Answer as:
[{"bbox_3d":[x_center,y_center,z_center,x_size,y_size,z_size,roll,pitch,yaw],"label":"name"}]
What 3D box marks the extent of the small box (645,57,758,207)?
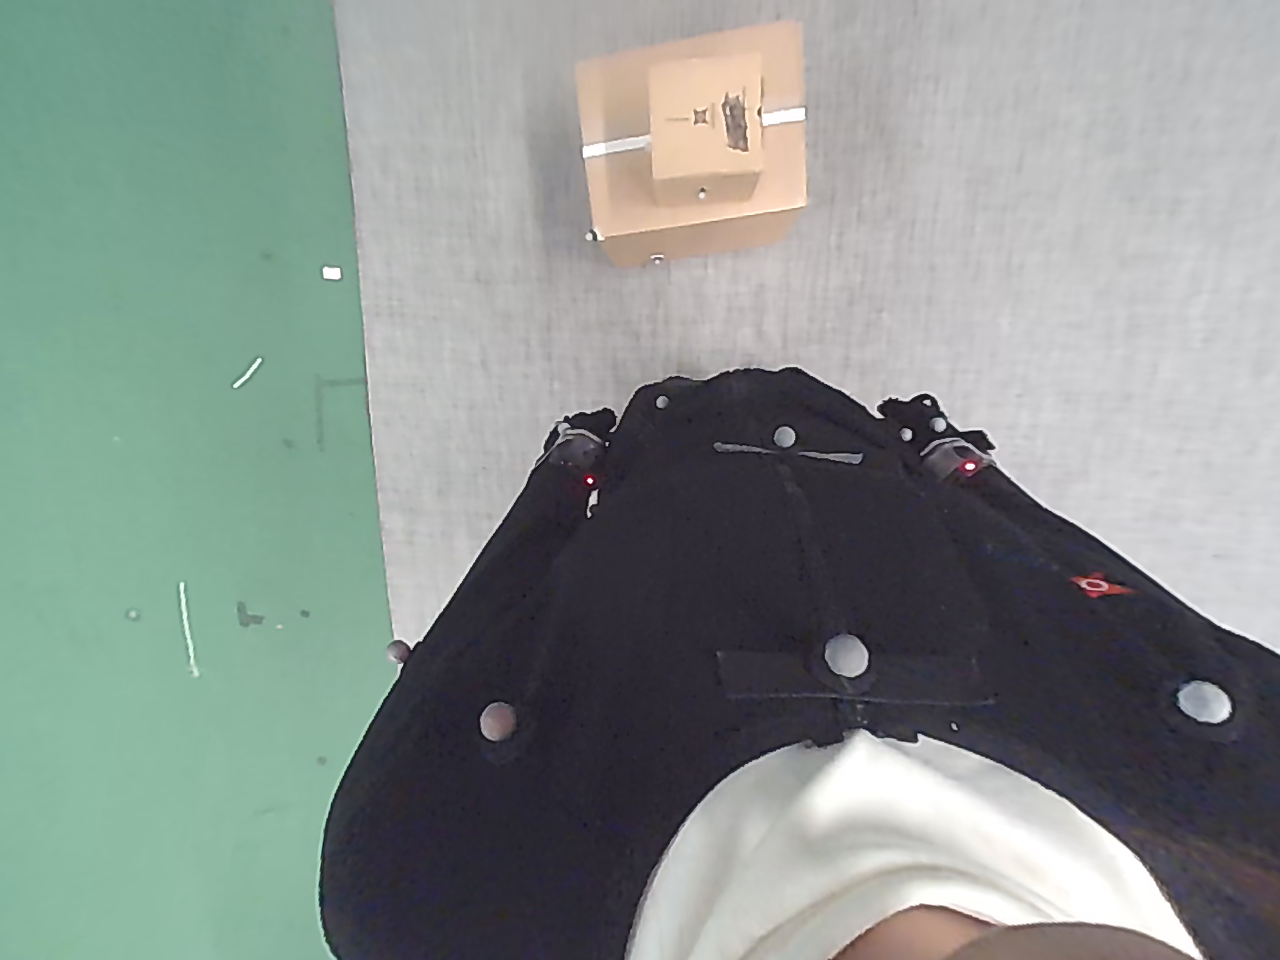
[{"bbox_3d":[0.104,-0.582,0.925,0.179,0.176,0.168,-1,102,6],"label":"small box"}]
